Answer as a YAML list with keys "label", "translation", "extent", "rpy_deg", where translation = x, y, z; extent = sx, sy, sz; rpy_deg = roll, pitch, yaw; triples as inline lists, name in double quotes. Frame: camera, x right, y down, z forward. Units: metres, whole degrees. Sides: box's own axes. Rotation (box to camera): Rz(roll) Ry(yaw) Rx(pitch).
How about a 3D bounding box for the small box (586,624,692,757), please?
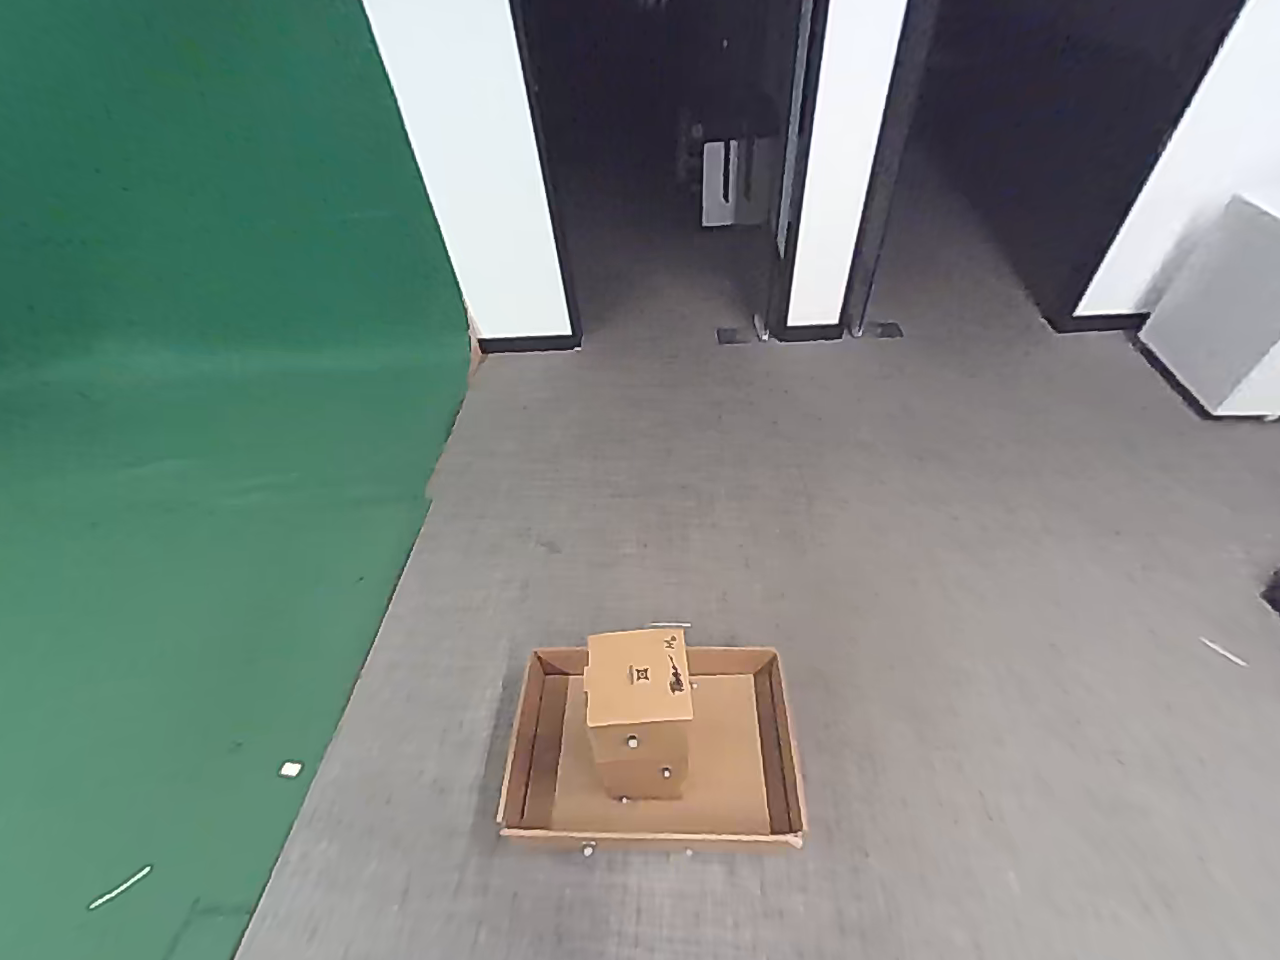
- label: "small box"
  translation: [-0.001, 0.386, 0.986]
  extent: [0.179, 0.176, 0.168]
  rpy_deg: [-6, 44, -2]

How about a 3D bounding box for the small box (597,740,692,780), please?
- label: "small box"
  translation: [0.006, 0.488, 1.090]
  extent: [0.179, 0.176, 0.168]
  rpy_deg: [-5, 46, -1]

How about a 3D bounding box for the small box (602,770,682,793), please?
- label: "small box"
  translation: [0.012, 0.598, 1.230]
  extent: [0.168, 0.176, 0.179]
  rpy_deg: [-1, 46, 4]
